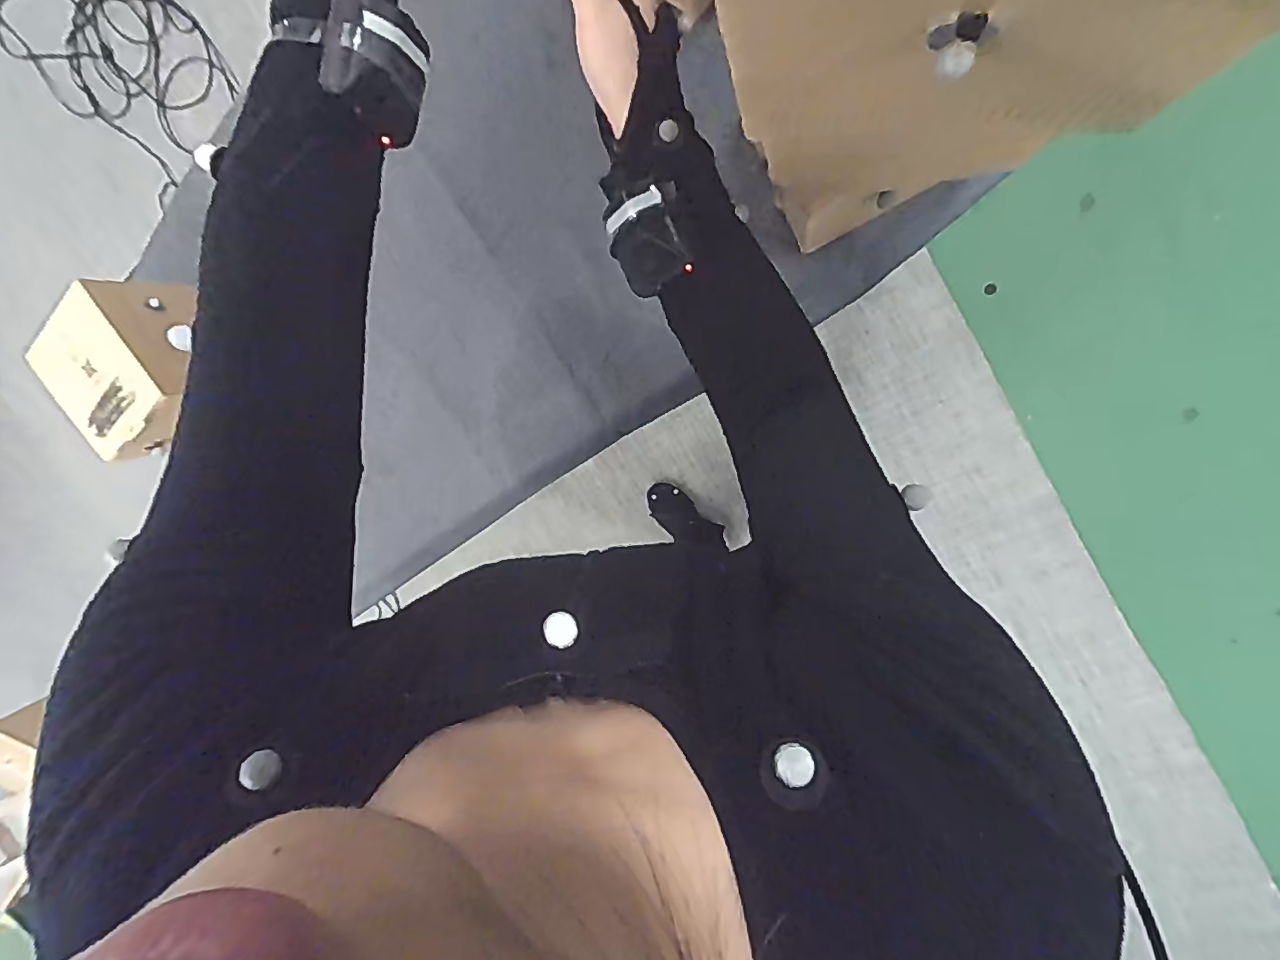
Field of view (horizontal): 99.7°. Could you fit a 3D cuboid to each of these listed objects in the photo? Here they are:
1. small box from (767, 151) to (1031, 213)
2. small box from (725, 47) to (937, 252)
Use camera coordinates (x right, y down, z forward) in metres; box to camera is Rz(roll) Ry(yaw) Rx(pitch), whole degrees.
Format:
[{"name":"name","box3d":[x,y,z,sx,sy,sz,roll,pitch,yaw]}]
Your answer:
[{"name":"small box","box3d":[0.162,-0.276,0.321,0.179,0.176,0.168,-2,102,17]},{"name":"small box","box3d":[0.197,-0.325,0.473,0.179,0.176,0.168,-24,95,21]}]
